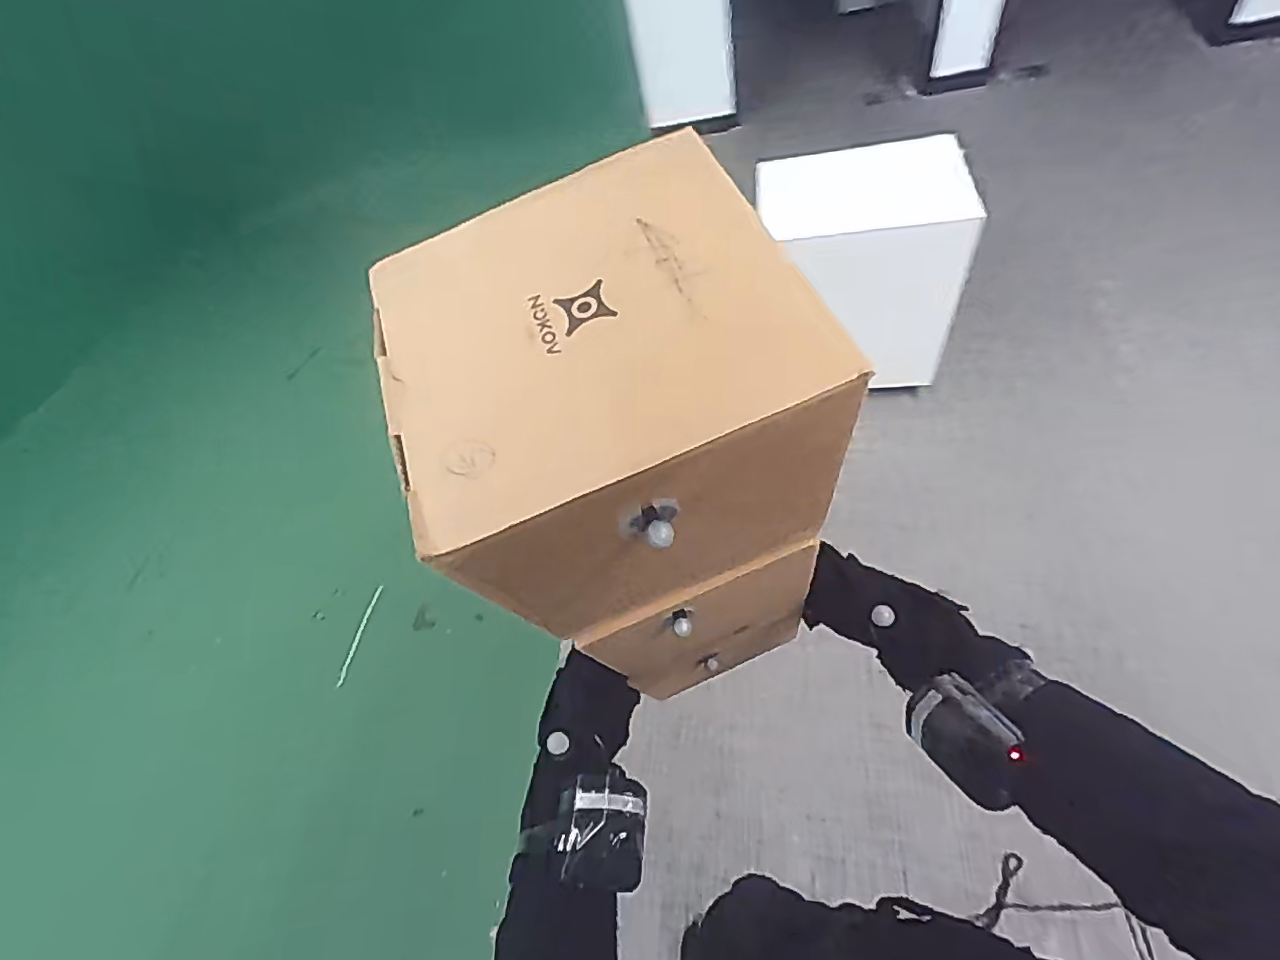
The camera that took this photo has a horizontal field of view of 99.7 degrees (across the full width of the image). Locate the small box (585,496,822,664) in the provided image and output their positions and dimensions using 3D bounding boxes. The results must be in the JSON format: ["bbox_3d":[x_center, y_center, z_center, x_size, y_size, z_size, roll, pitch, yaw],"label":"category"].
[{"bbox_3d":[0.027,0.032,0.456,0.168,0.176,0.179,-25,61,-1],"label":"small box"}]

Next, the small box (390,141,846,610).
[{"bbox_3d":[-0.010,-0.042,0.313,0.179,0.176,0.168,-22,62,0],"label":"small box"}]

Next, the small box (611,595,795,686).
[{"bbox_3d":[0.055,0.110,0.594,0.179,0.176,0.168,-24,60,0],"label":"small box"}]
